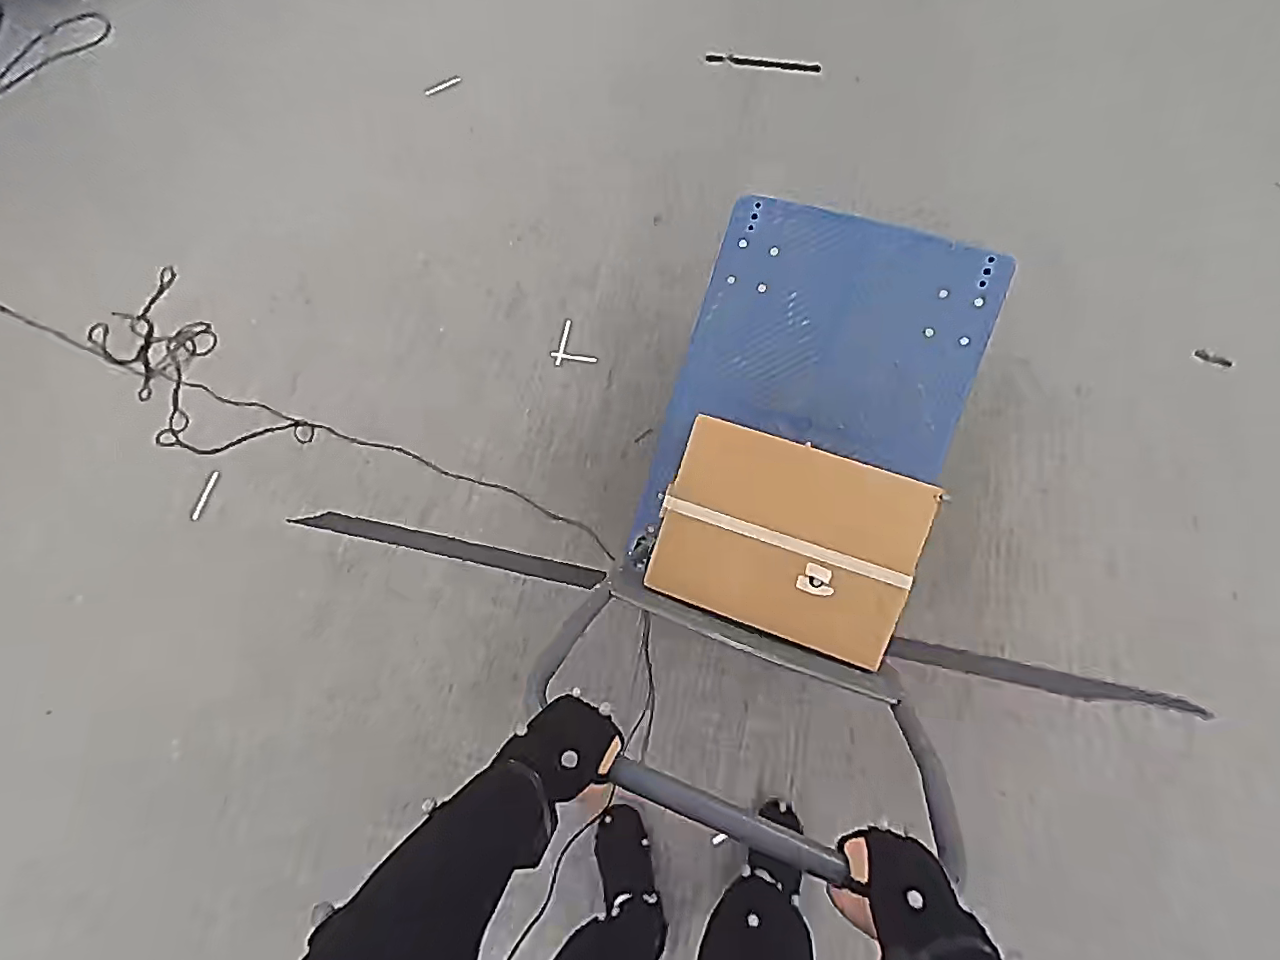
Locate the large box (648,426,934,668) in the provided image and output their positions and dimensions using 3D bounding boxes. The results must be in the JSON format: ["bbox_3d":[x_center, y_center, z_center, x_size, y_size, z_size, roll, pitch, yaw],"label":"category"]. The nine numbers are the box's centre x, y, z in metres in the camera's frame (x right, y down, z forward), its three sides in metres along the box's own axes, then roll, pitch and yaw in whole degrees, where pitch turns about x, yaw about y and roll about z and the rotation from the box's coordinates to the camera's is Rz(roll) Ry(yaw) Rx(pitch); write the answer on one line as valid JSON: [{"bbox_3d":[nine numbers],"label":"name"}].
[{"bbox_3d":[0.266,0.102,1.049,0.408,0.320,0.320,18,96,10],"label":"large box"}]
